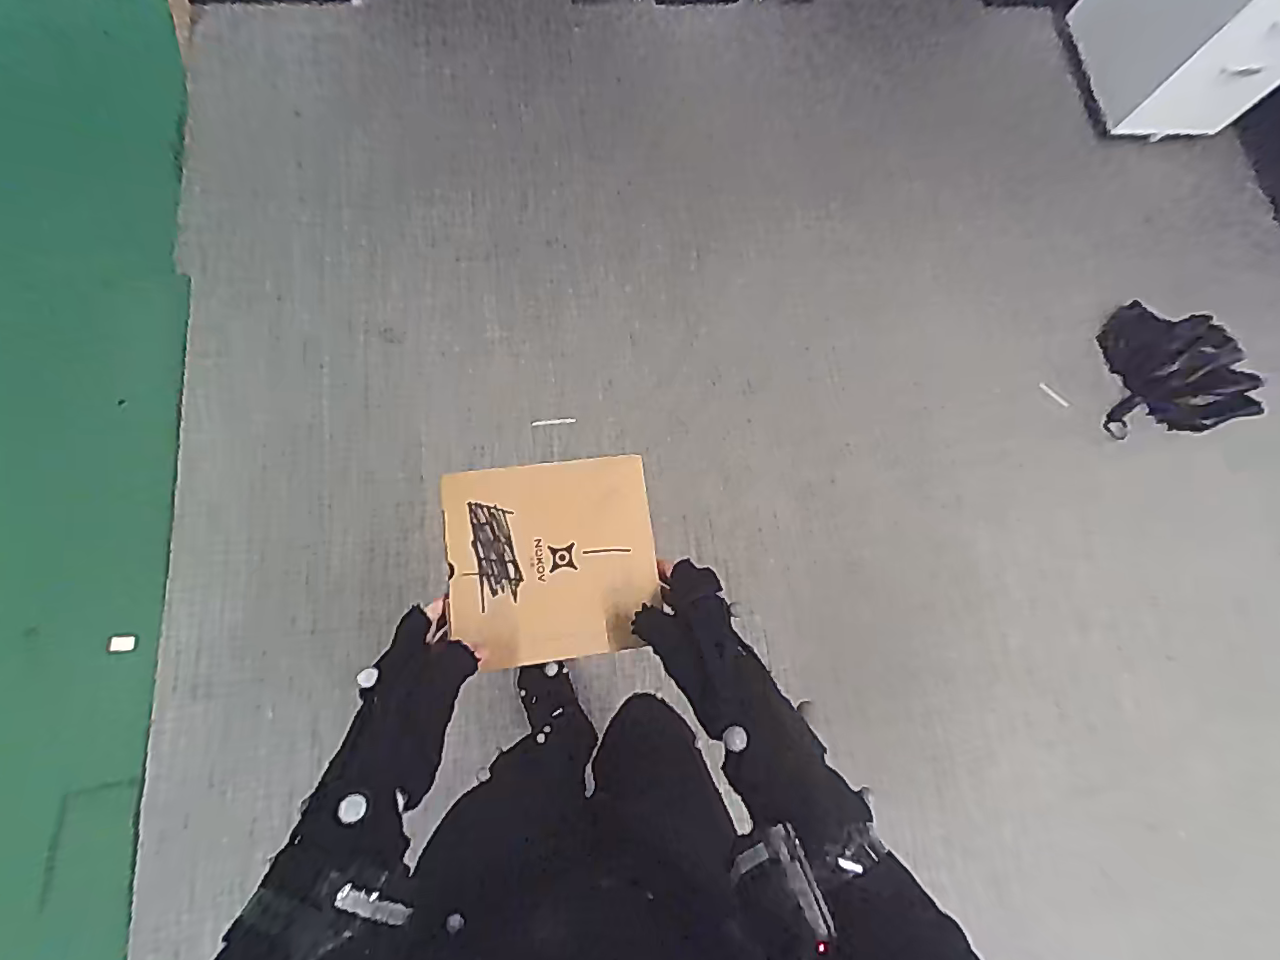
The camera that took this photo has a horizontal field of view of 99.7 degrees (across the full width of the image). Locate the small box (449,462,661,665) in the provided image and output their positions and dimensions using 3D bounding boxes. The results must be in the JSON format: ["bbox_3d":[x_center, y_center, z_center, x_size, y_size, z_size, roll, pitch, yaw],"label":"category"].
[{"bbox_3d":[-0.084,0.089,0.551,0.179,0.176,0.168,-6,77,-8],"label":"small box"}]
